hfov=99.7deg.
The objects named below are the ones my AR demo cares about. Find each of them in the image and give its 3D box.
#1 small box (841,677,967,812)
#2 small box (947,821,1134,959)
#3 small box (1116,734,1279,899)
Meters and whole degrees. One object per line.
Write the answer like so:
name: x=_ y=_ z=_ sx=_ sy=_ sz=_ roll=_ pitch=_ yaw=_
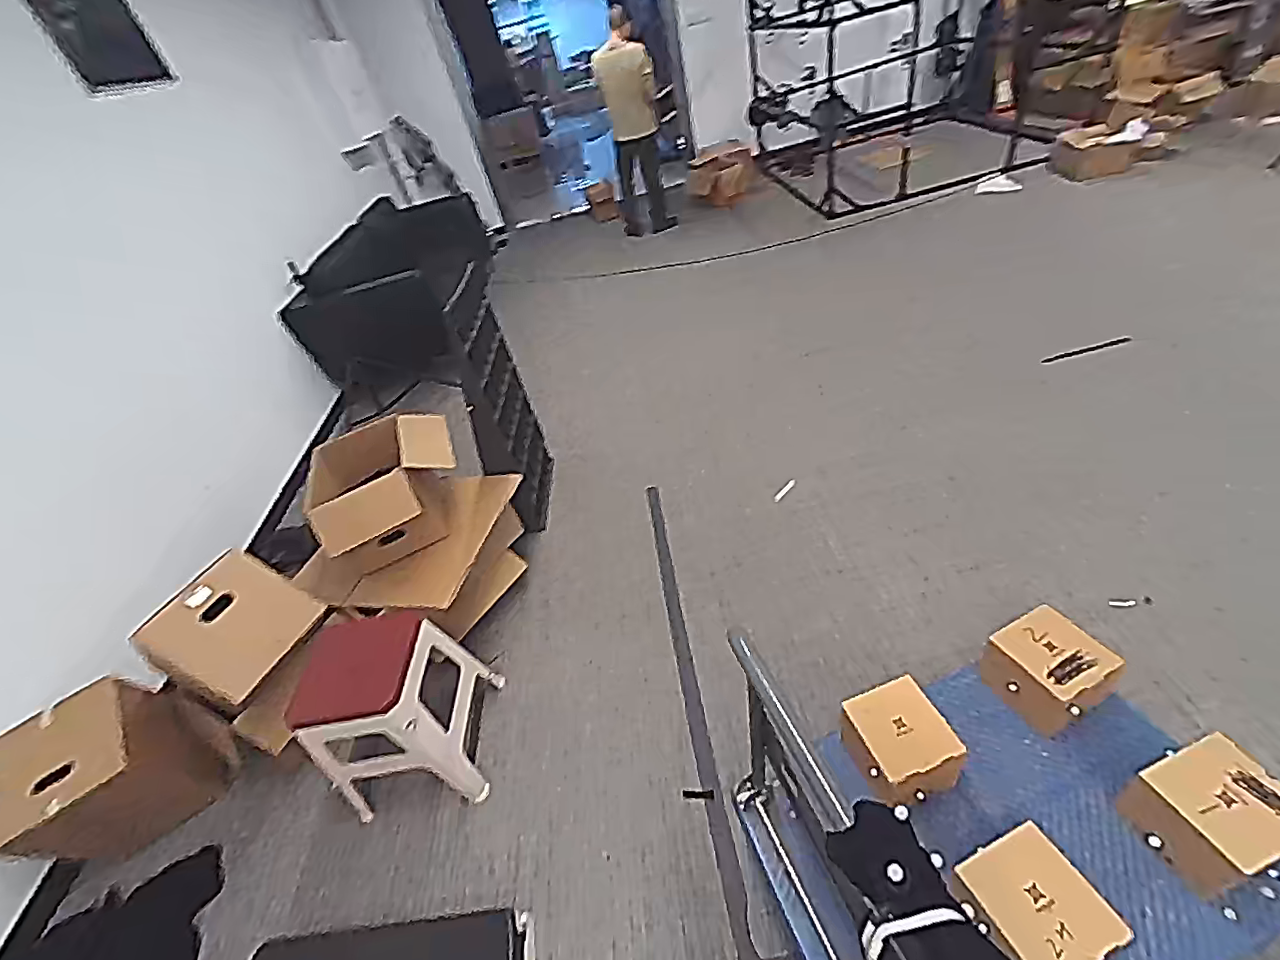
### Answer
small box: x=0.545 y=0.559 z=1.145 sx=0.168 sy=0.176 sz=0.179 roll=-20 pitch=41 yaw=-6
small box: x=0.650 y=0.726 z=0.907 sx=0.168 sy=0.176 sz=0.179 roll=-24 pitch=39 yaw=-9
small box: x=0.998 y=0.588 z=0.946 sx=0.179 sy=0.176 sz=0.168 roll=-23 pitch=39 yaw=-6
